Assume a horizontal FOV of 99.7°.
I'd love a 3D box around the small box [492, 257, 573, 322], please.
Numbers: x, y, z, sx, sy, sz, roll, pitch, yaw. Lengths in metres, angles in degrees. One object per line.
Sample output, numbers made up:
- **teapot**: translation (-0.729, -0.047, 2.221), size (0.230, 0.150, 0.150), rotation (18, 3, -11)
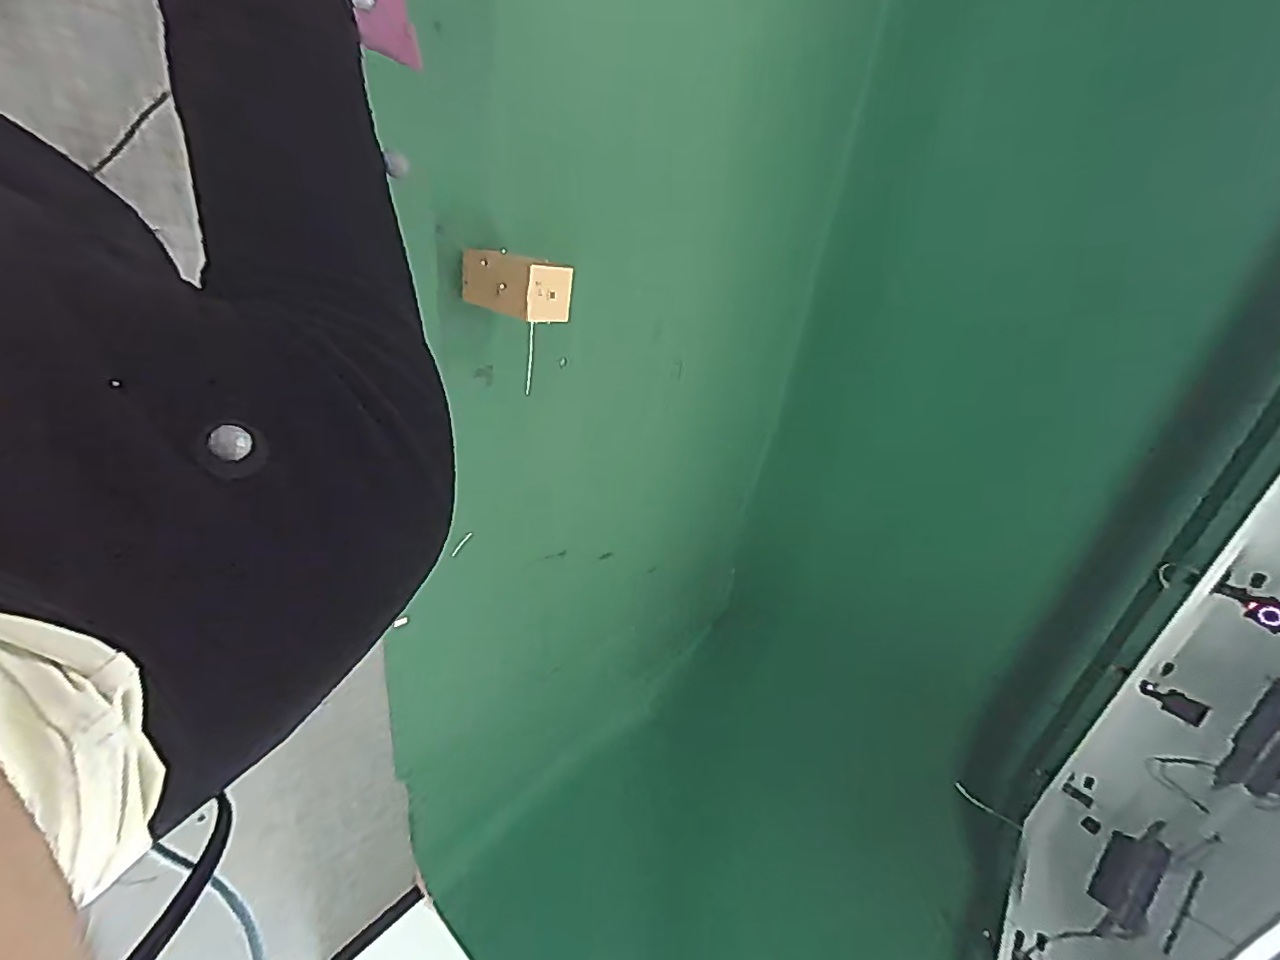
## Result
- **small box**: translation (-0.338, -0.599, 1.701), size (0.179, 0.176, 0.168), rotation (-19, 127, -48)
